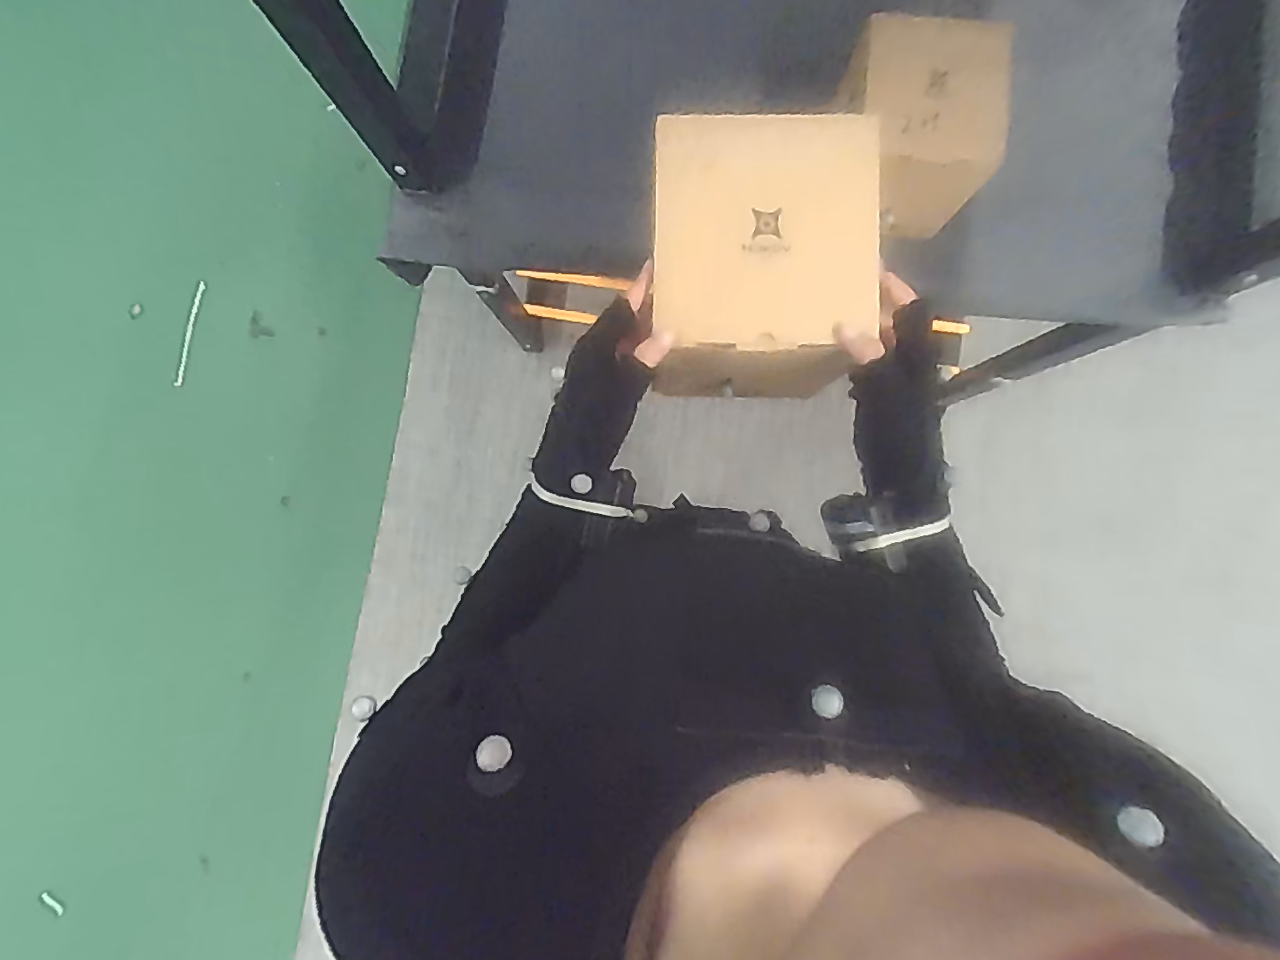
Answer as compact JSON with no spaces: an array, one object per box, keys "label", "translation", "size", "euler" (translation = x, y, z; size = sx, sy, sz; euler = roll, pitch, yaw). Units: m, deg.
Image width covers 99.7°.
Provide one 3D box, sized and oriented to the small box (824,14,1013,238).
[{"label":"small box","translation":[0.352,-0.453,0.713],"size":[0.168,0.176,0.179],"euler":[6,85,3]}]
